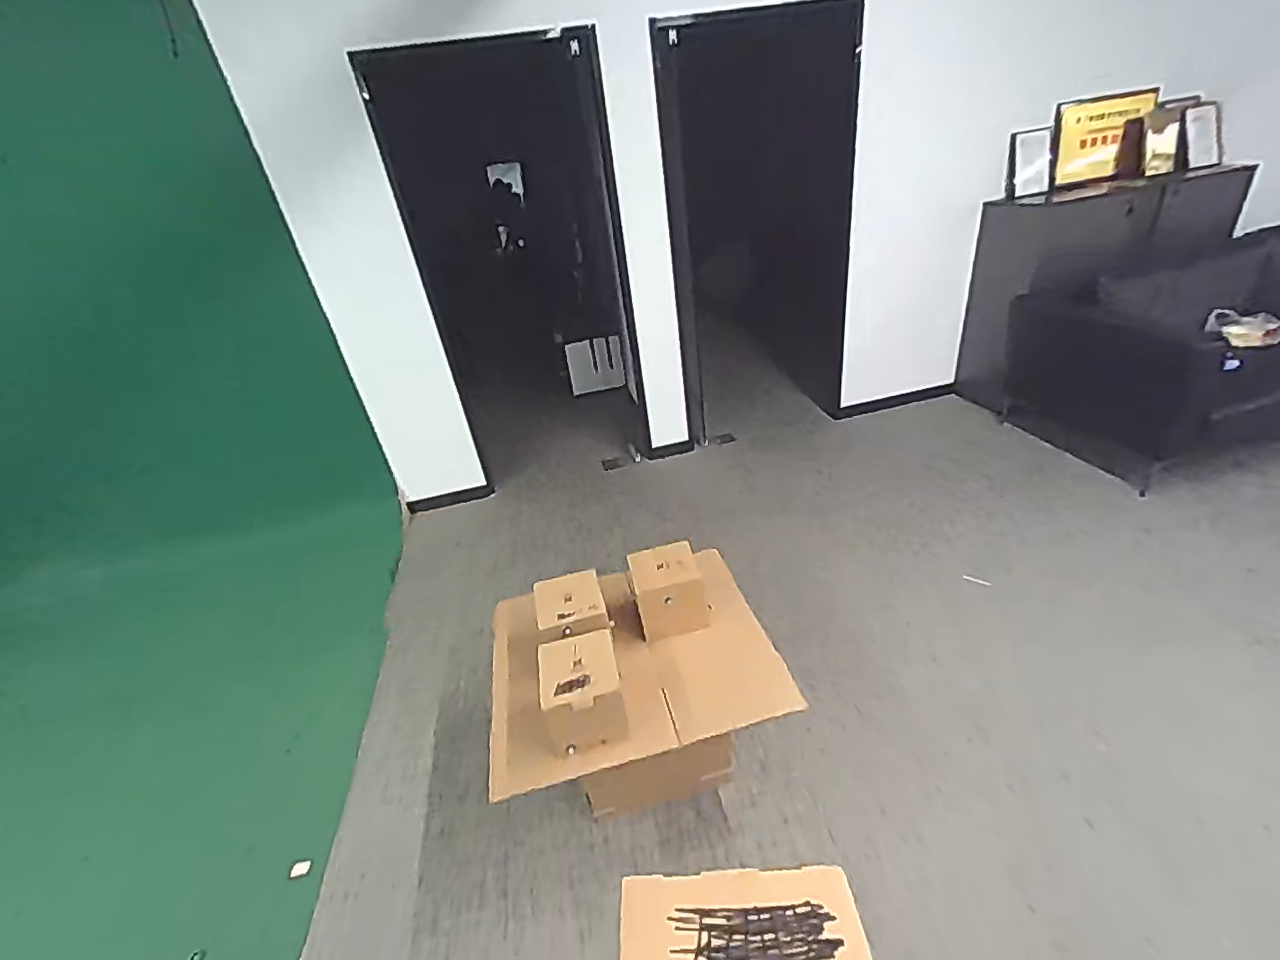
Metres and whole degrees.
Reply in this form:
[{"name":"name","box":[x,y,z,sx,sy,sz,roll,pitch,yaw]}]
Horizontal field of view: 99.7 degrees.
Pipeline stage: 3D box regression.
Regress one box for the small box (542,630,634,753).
[{"name":"small box","box":[-0.115,0.469,1.188,0.168,0.176,0.179,-13,29,-6]}]

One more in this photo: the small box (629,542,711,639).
[{"name":"small box","box":[0.079,0.296,1.434,0.179,0.176,0.168,-13,30,-4]}]

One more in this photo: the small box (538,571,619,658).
[{"name":"small box","box":[-0.158,0.365,1.381,0.168,0.176,0.179,-14,29,-8]}]
